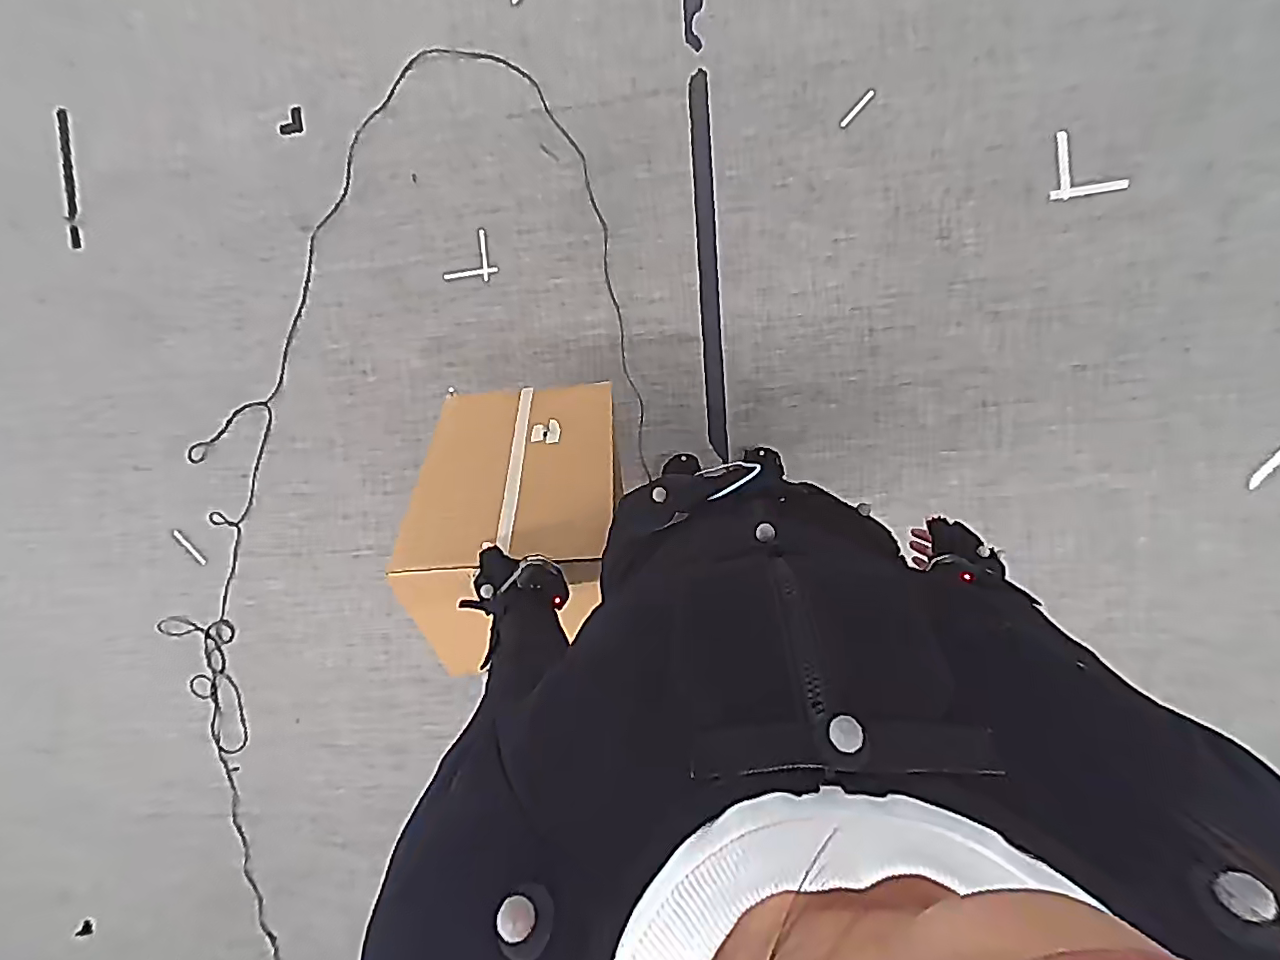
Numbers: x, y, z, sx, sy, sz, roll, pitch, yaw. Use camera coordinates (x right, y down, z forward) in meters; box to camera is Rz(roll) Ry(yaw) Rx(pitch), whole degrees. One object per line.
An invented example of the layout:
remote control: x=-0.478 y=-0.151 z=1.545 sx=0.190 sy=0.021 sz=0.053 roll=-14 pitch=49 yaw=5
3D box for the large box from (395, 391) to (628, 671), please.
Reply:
large box: x=-0.193 y=0.086 z=0.993 sx=0.320 sy=0.408 sz=0.320 roll=-3 pitch=135 yaw=0
